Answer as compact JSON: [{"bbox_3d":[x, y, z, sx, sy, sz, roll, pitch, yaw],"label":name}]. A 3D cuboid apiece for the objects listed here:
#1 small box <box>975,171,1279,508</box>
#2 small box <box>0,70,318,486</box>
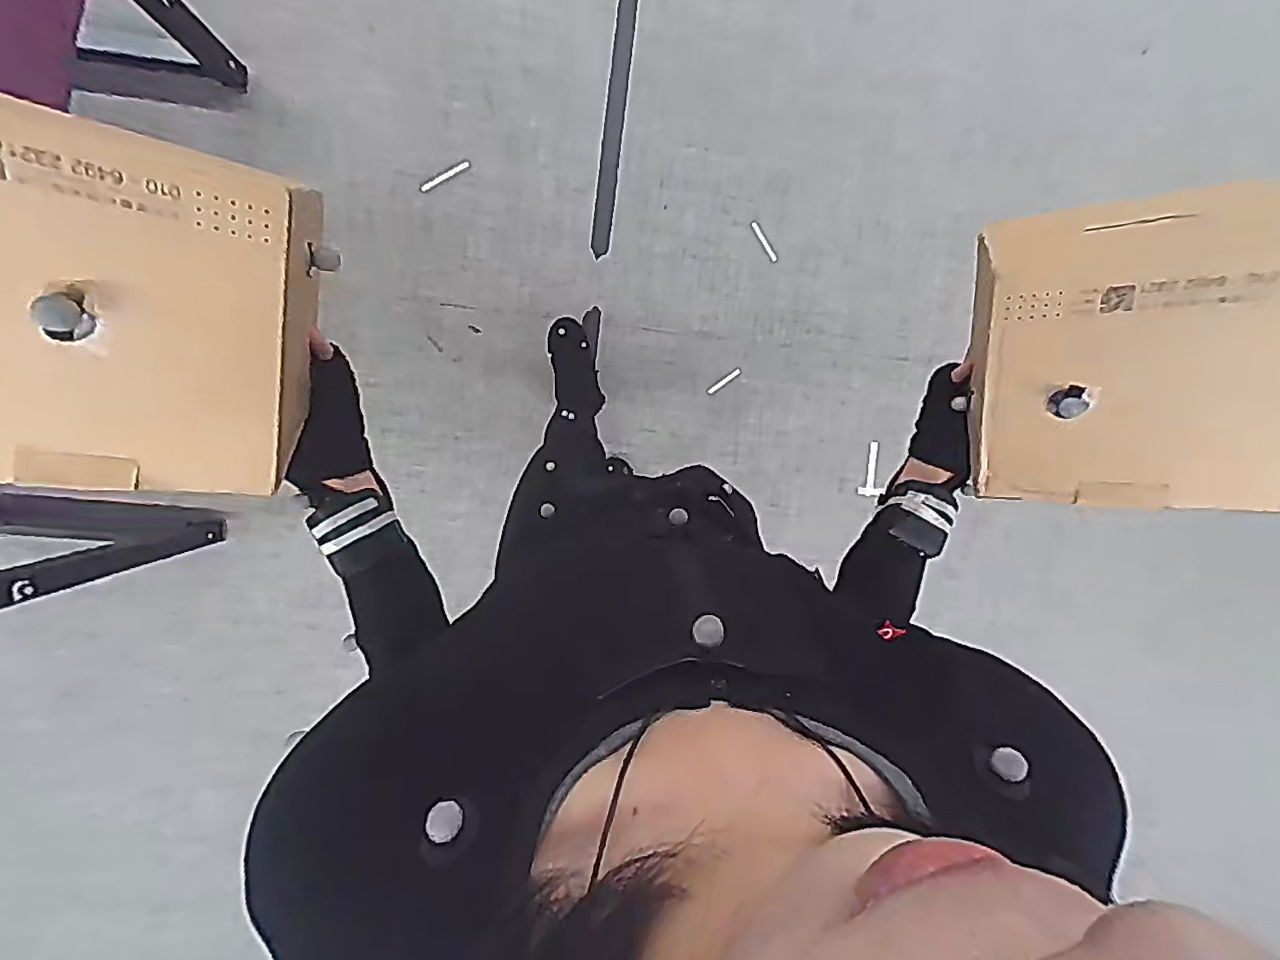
[{"bbox_3d":[0.337,-0.099,0.373,0.168,0.179,0.176,3,122,28],"label":"small box"},{"bbox_3d":[-0.286,-0.112,0.301,0.168,0.179,0.176,6,111,-27],"label":"small box"}]
